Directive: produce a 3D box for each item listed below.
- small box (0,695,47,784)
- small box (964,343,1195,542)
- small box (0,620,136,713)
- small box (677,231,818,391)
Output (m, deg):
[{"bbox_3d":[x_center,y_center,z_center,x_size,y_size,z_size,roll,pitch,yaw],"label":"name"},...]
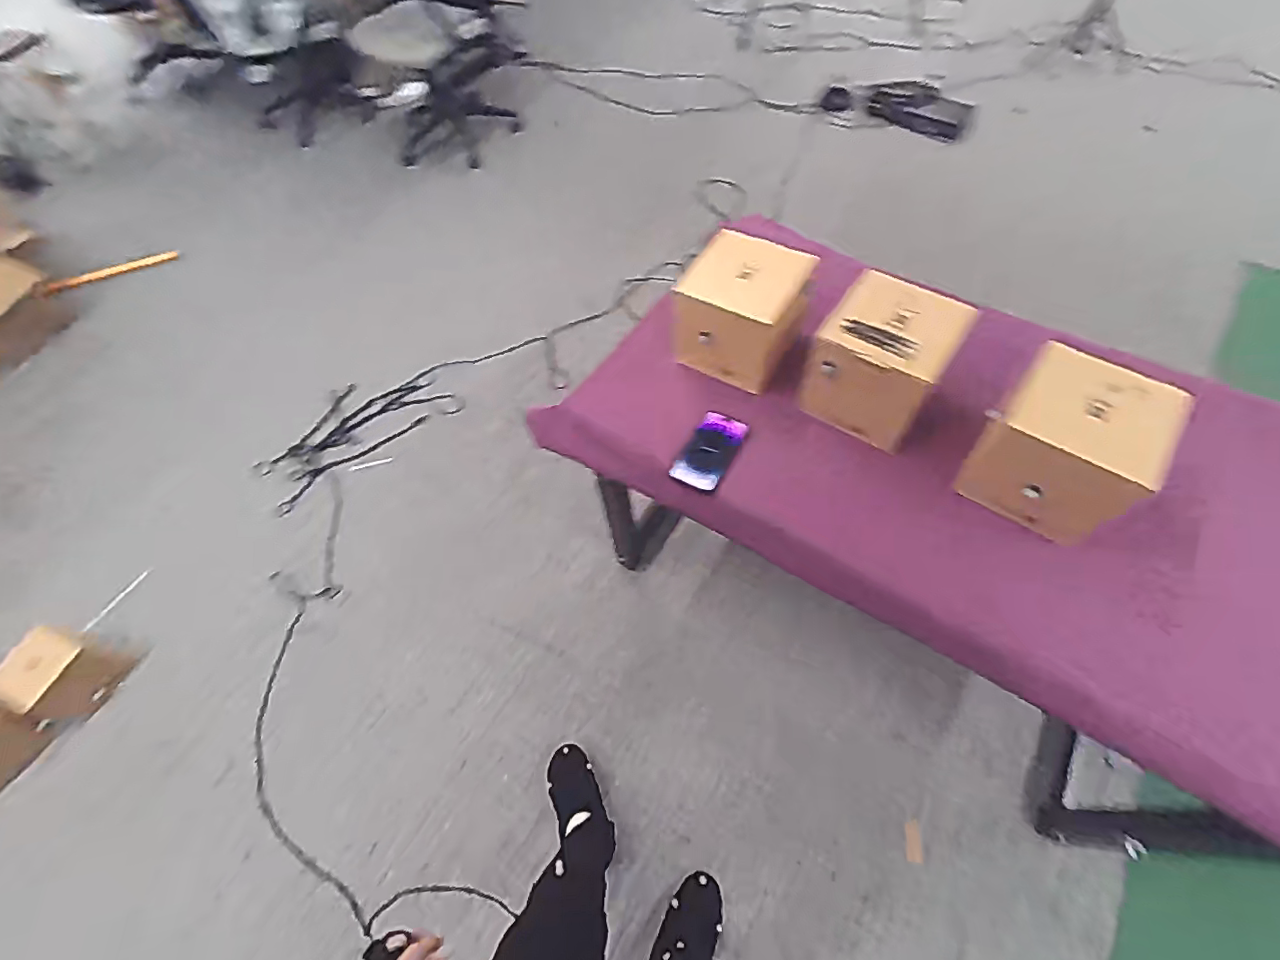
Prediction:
[{"bbox_3d":[-1.650,0.648,1.341,0.168,0.176,0.179,28,65,20],"label":"small box"},{"bbox_3d":[0.581,-0.045,0.741,0.168,0.176,0.179,33,66,21],"label":"small box"},{"bbox_3d":[-1.513,0.496,1.423,0.179,0.176,0.168,19,63,14],"label":"small box"},{"bbox_3d":[0.178,-0.282,0.919,0.168,0.176,0.179,27,64,19],"label":"small box"}]
